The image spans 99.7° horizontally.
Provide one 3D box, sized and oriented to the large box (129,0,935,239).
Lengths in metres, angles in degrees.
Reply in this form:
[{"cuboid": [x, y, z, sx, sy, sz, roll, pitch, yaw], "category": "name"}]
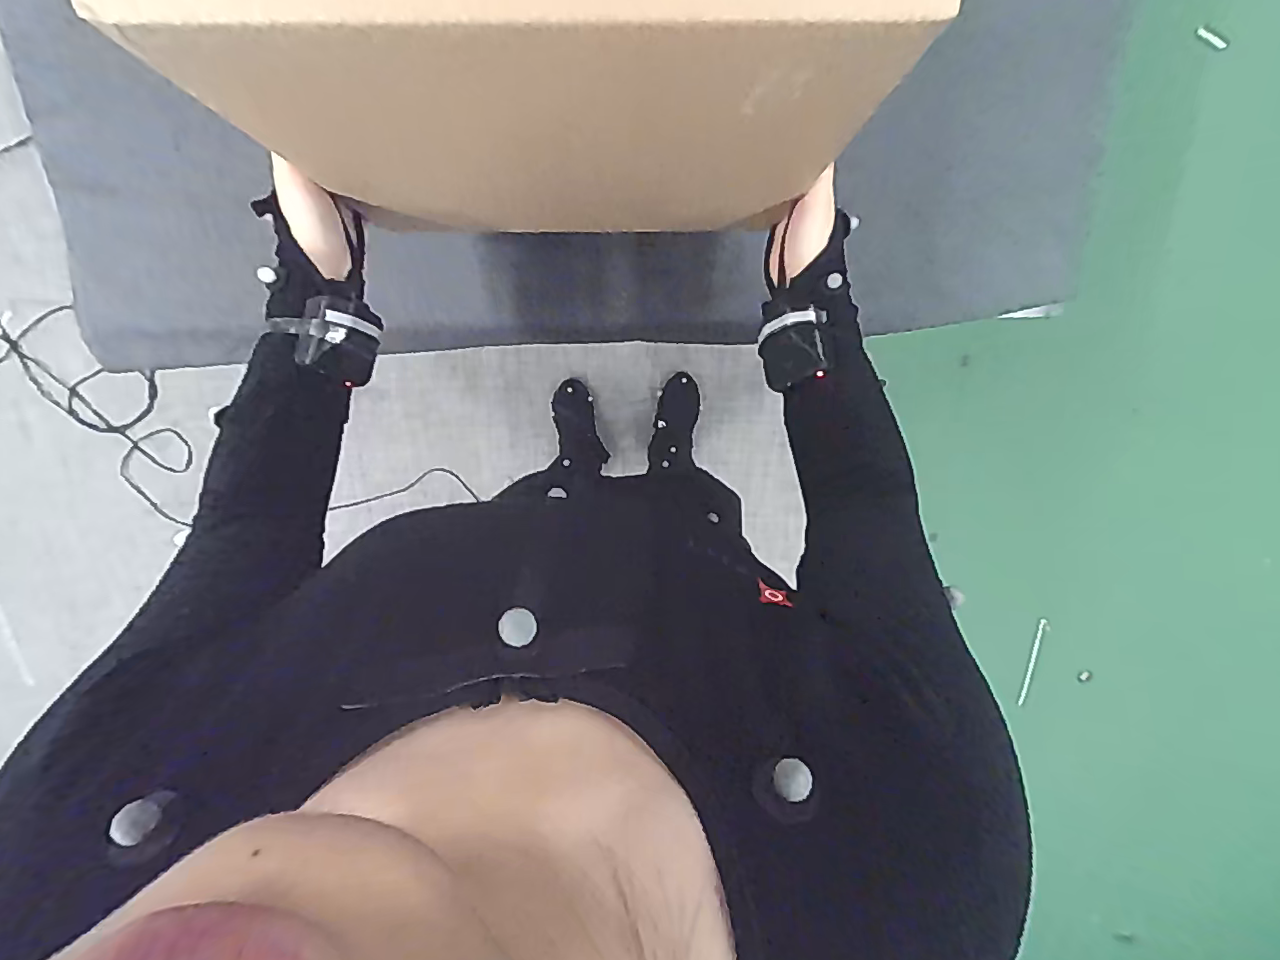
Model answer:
[{"cuboid": [-0.060, -0.388, 0.397, 0.408, 0.320, 0.320, -2, 99, -2], "category": "large box"}]
